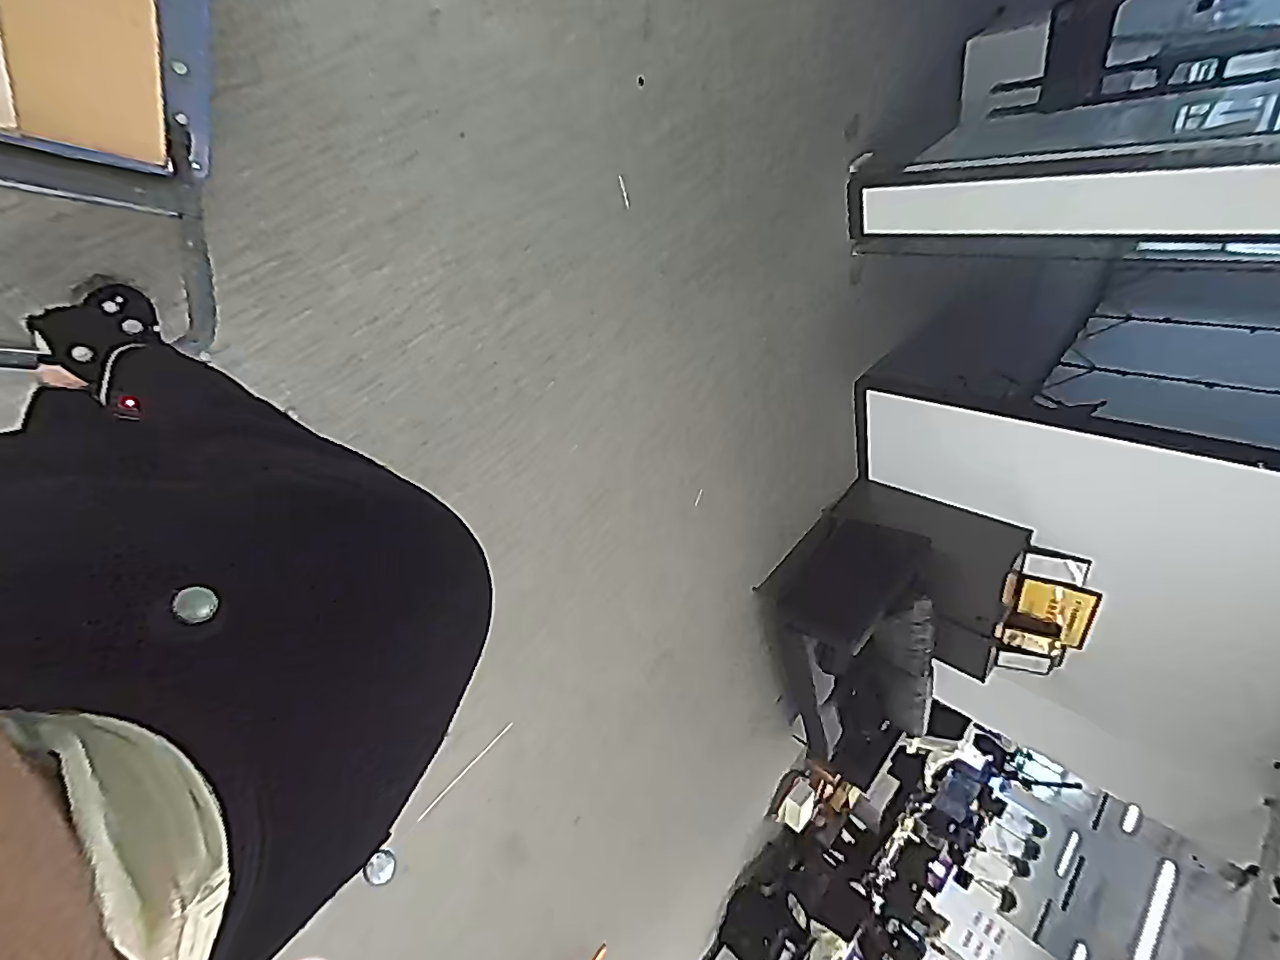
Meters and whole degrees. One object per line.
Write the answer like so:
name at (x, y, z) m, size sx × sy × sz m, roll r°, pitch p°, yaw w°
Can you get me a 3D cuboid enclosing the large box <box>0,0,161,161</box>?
large box at (-0.838, -0.704, 0.691) m, size 0.320 × 0.320 × 0.408 m, roll -4°, pitch 130°, yaw -40°
